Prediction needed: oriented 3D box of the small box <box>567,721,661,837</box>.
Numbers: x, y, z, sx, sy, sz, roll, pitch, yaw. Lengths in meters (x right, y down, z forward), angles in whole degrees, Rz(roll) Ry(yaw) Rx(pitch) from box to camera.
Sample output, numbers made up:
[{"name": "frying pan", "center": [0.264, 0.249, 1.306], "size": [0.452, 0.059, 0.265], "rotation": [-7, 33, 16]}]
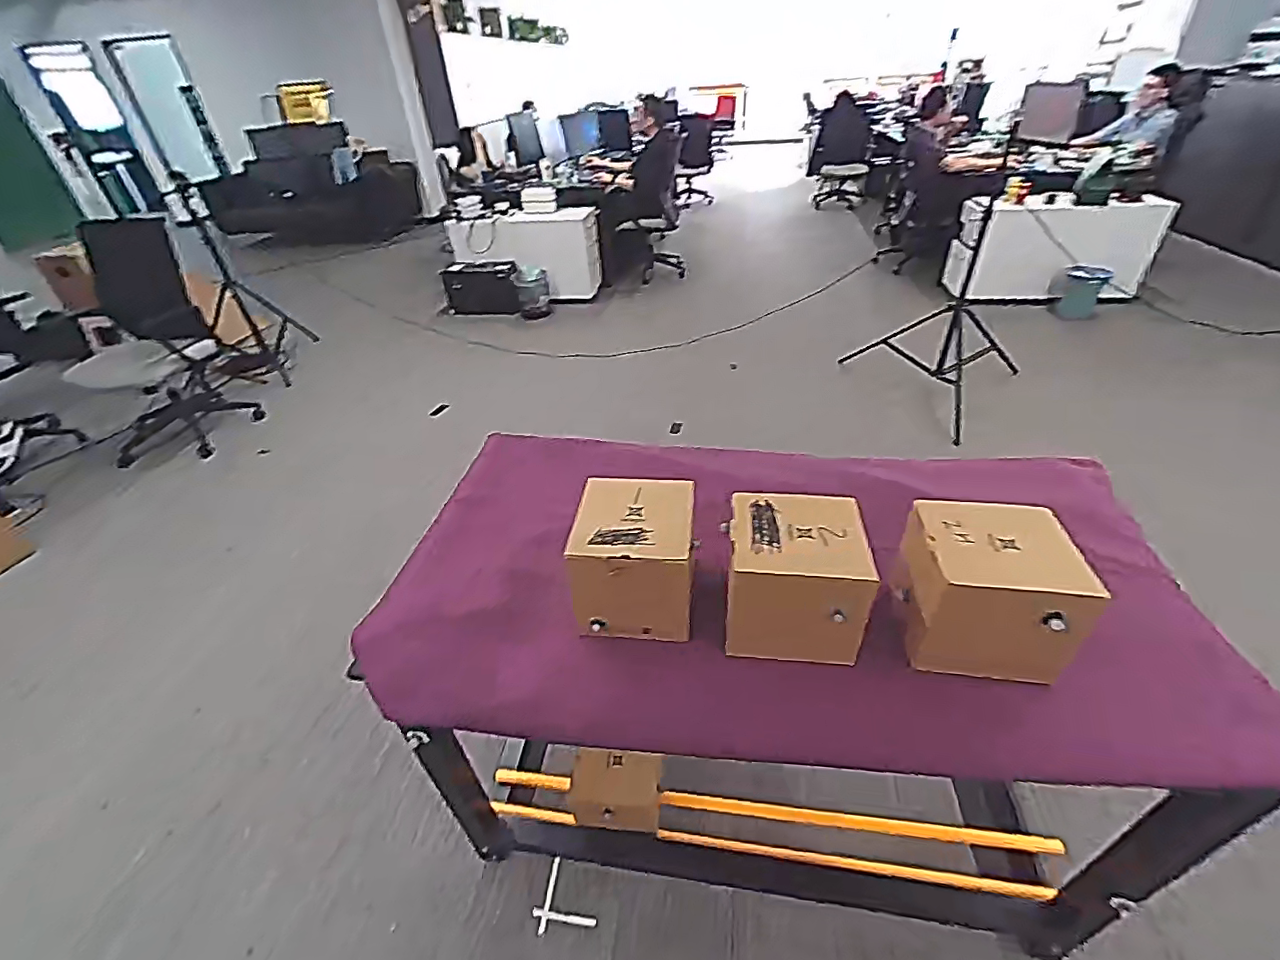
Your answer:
[{"name": "small box", "center": [-0.046, 0.640, 1.155], "size": [0.179, 0.176, 0.168], "rotation": [0, 39, 6]}]
